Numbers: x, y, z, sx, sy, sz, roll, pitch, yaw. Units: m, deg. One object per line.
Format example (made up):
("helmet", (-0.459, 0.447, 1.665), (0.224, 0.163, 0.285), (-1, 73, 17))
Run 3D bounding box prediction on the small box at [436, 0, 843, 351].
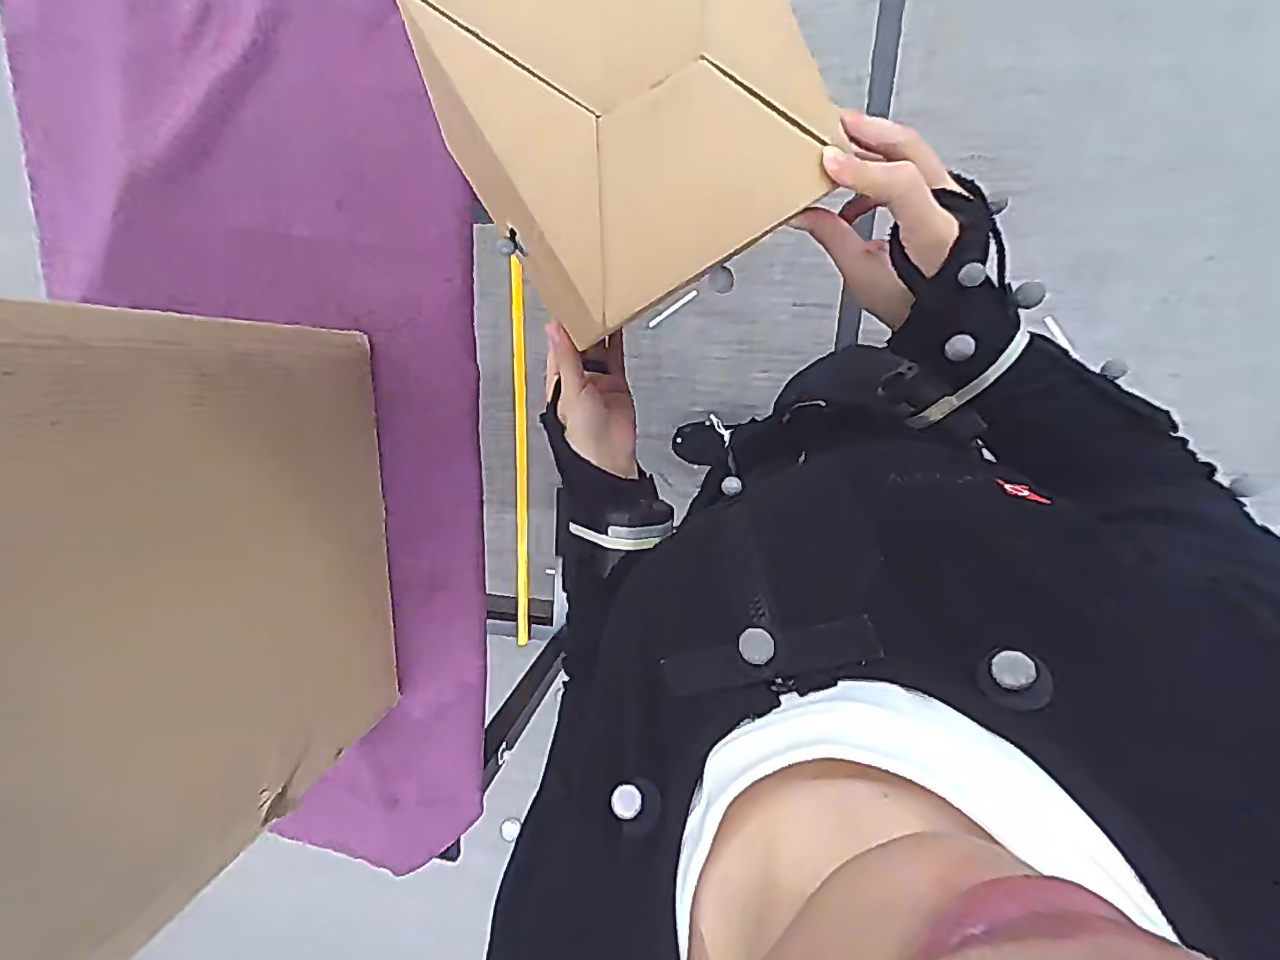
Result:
("small box", (-0.007, -0.204, 0.341), (0.168, 0.176, 0.179), (-33, 104, -5))
